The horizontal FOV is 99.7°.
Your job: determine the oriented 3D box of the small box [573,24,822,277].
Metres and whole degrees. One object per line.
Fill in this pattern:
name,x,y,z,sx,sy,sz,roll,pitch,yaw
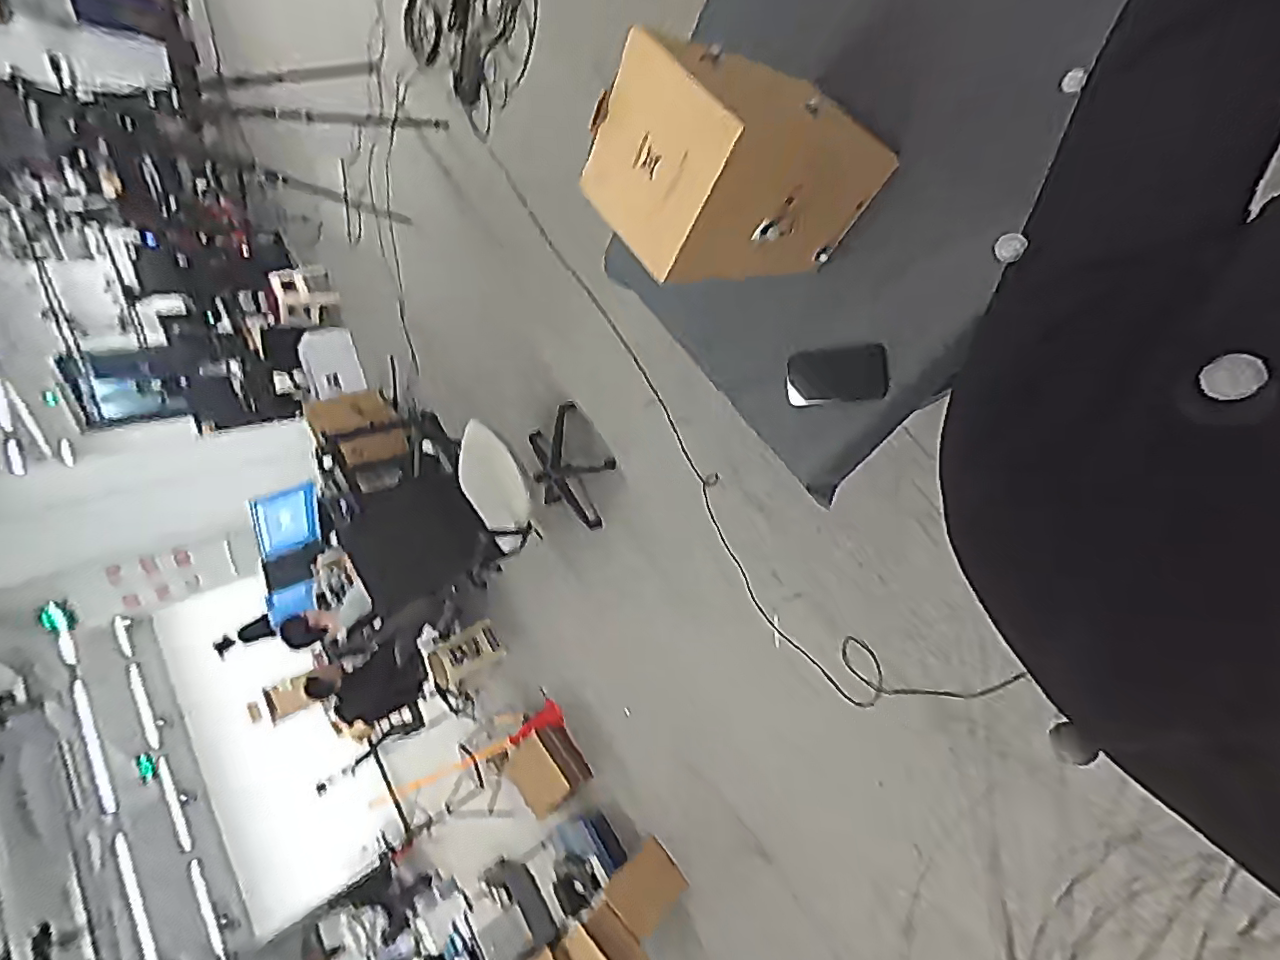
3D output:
small box,0.060,-0.349,0.600,0.179,0.176,0.168,53,139,17

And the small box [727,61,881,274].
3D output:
small box,0.173,-0.396,0.706,0.179,0.176,0.168,55,138,18
